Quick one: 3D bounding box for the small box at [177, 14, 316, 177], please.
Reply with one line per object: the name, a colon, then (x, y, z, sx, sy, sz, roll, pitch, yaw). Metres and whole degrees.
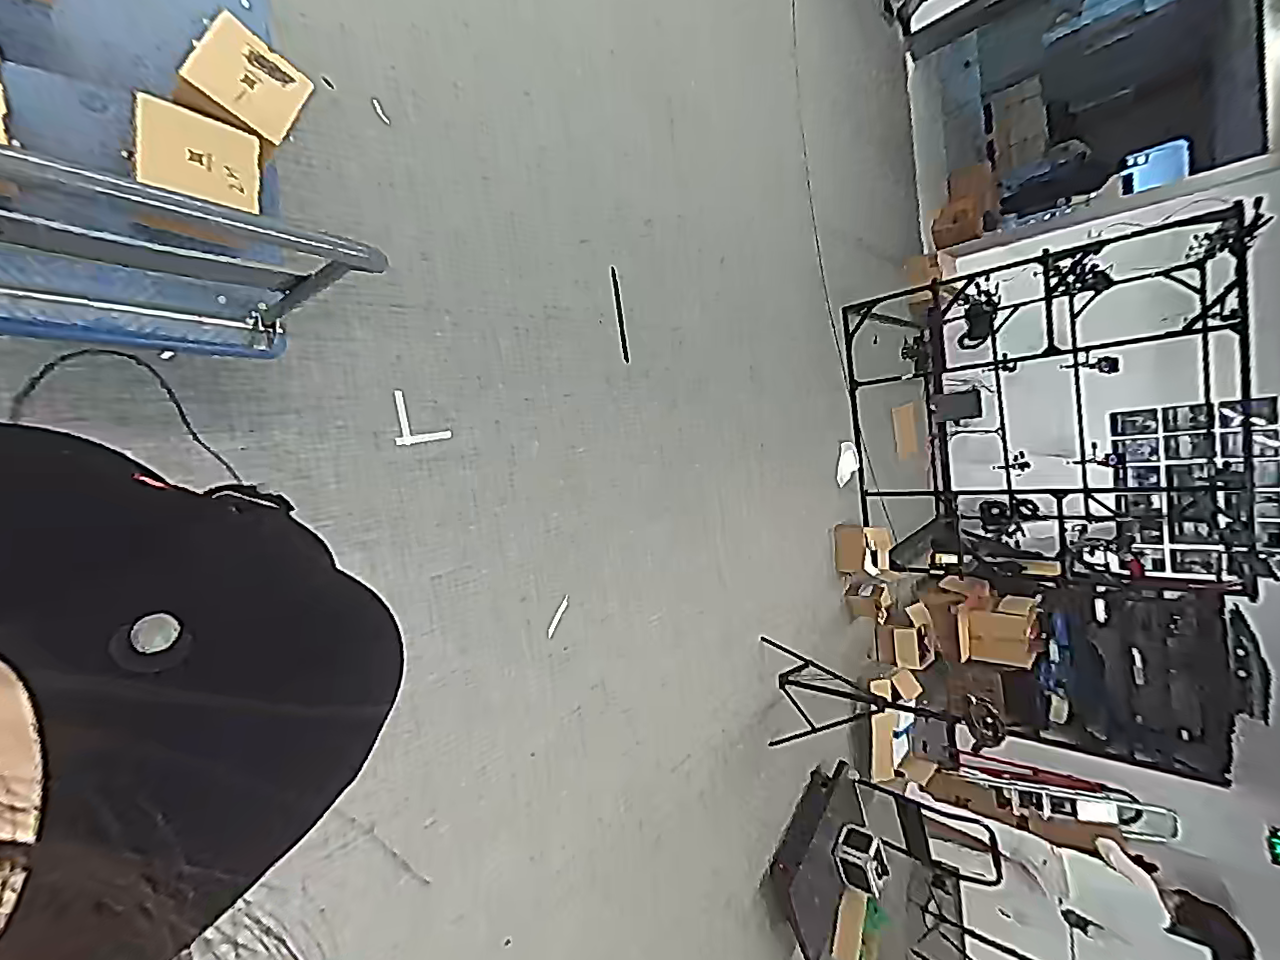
small box: (-0.795, -0.758, 1.086, 0.168, 0.176, 0.179, 31, 67, -41)

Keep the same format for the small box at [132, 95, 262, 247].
small box: (-0.842, -0.567, 1.026, 0.179, 0.176, 0.168, 1, 87, -46)

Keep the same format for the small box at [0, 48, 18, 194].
small box: (-1.060, -0.553, 0.795, 0.179, 0.176, 0.168, -7, 93, -48)
